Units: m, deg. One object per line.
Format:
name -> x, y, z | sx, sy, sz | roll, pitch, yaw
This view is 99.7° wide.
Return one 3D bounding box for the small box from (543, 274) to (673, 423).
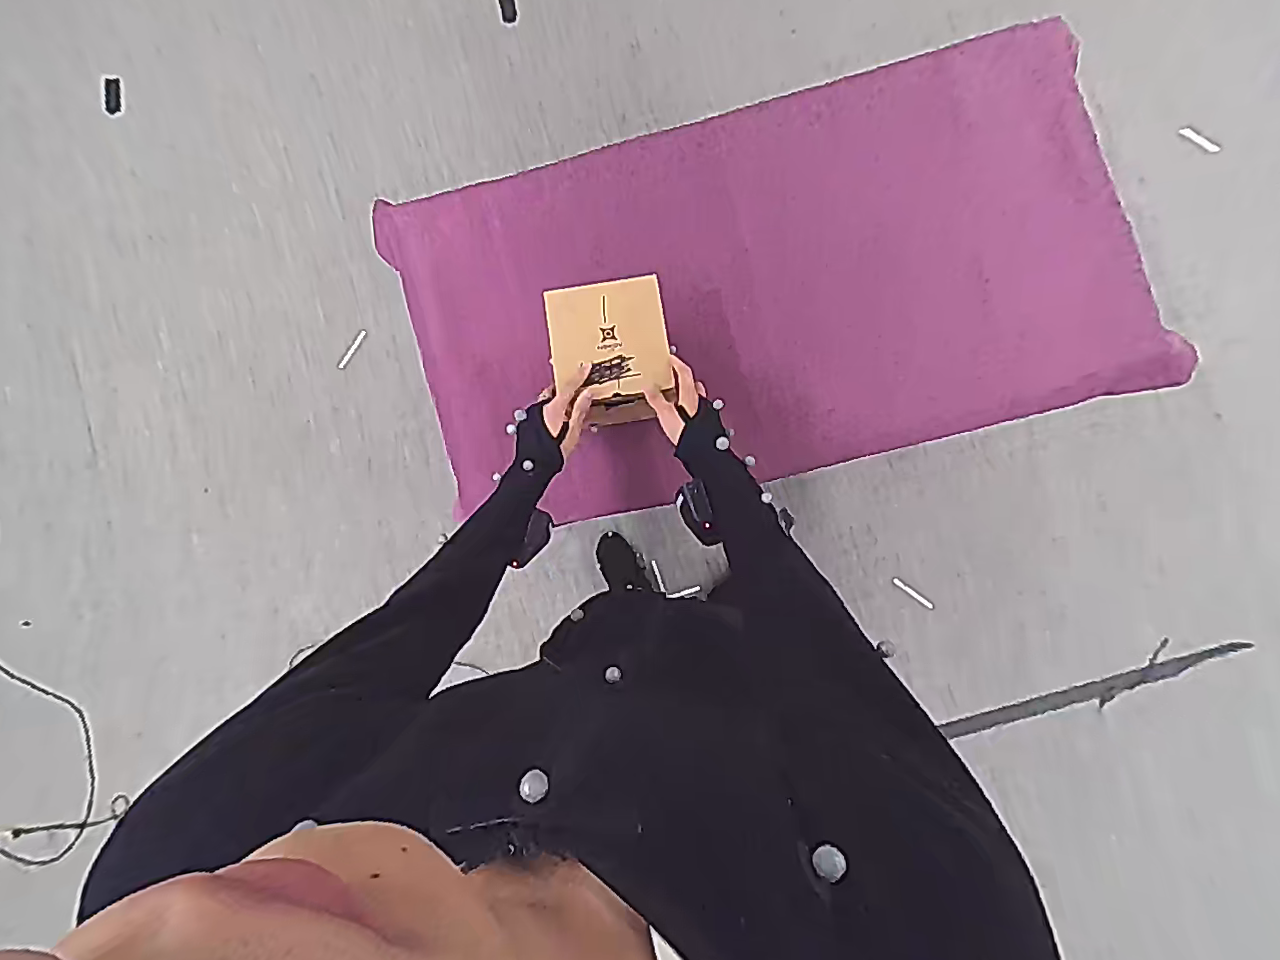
small box -> -0.042, -0.189, 0.834 | 0.168, 0.176, 0.179 | -9, 86, 0
